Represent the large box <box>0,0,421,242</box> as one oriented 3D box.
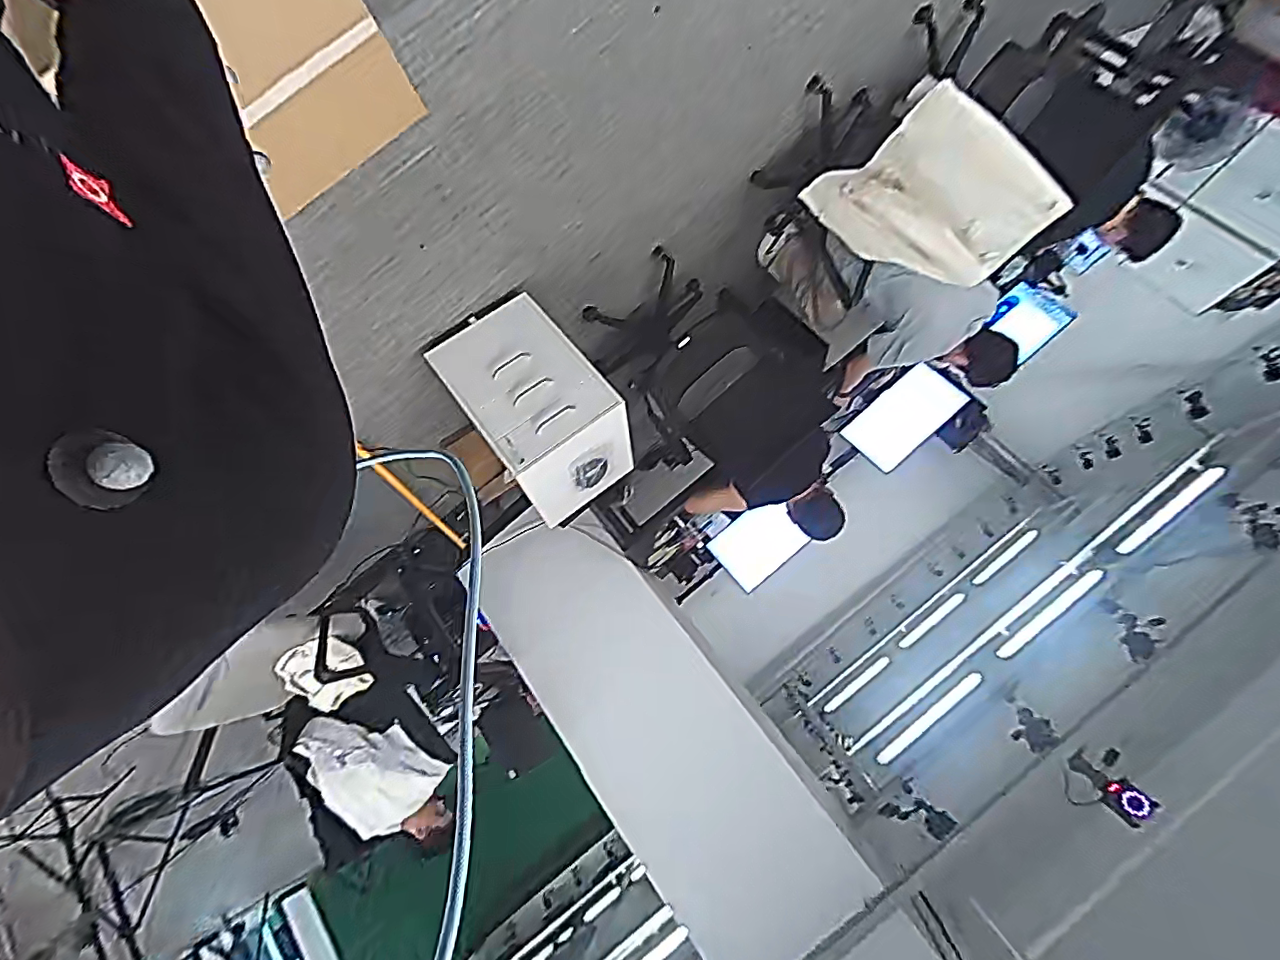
[{"bbox_3d":[-0.660,-0.691,0.866,0.408,0.320,0.320,-40,162,-3],"label":"large box"}]
